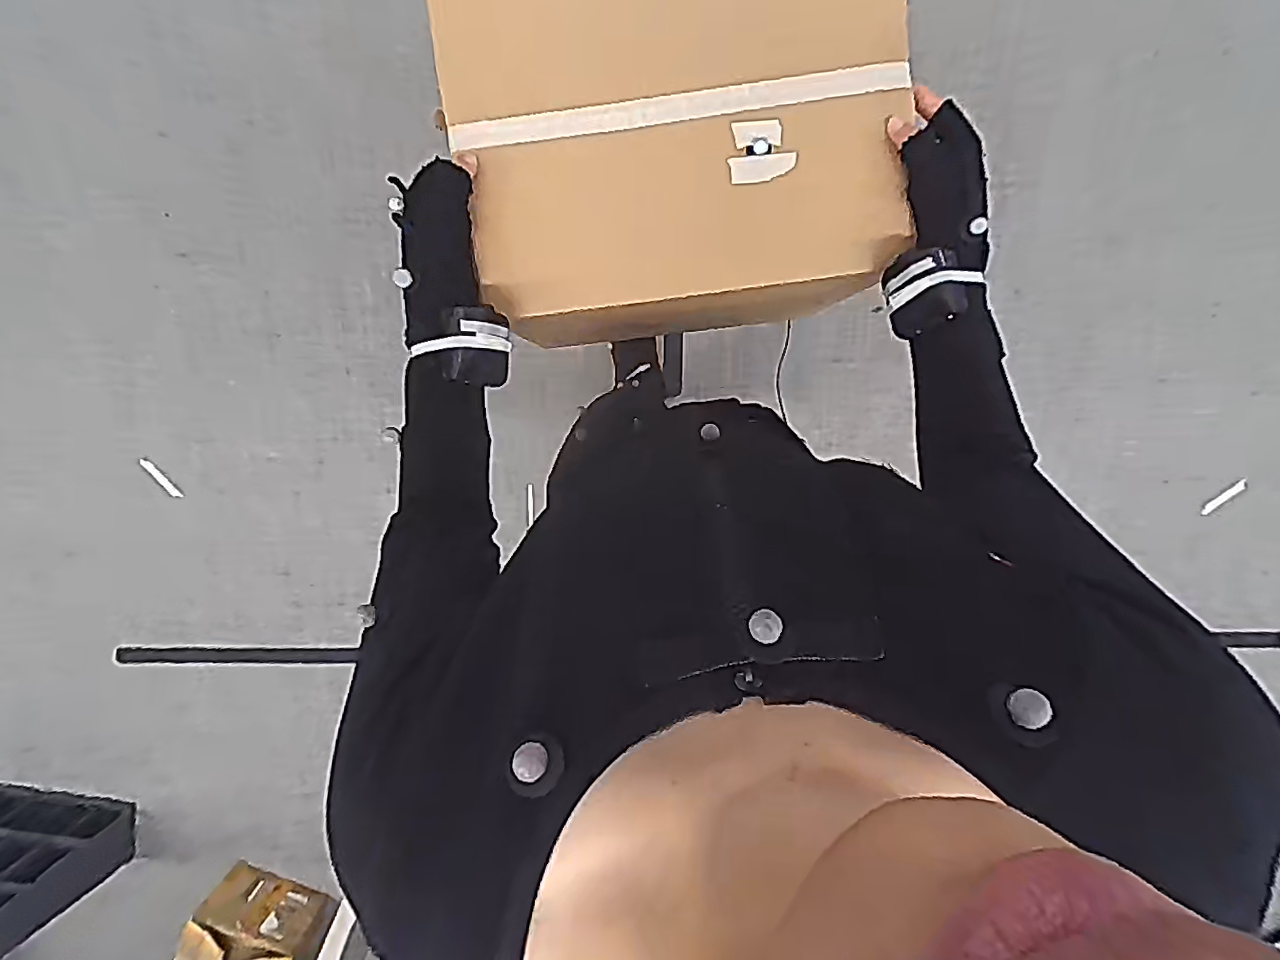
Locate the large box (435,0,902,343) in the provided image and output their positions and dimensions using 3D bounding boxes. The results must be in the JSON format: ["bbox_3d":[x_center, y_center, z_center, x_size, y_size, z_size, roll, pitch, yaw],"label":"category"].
[{"bbox_3d":[0.029,-0.359,0.638,0.408,0.320,0.320,-8,99,1],"label":"large box"}]
